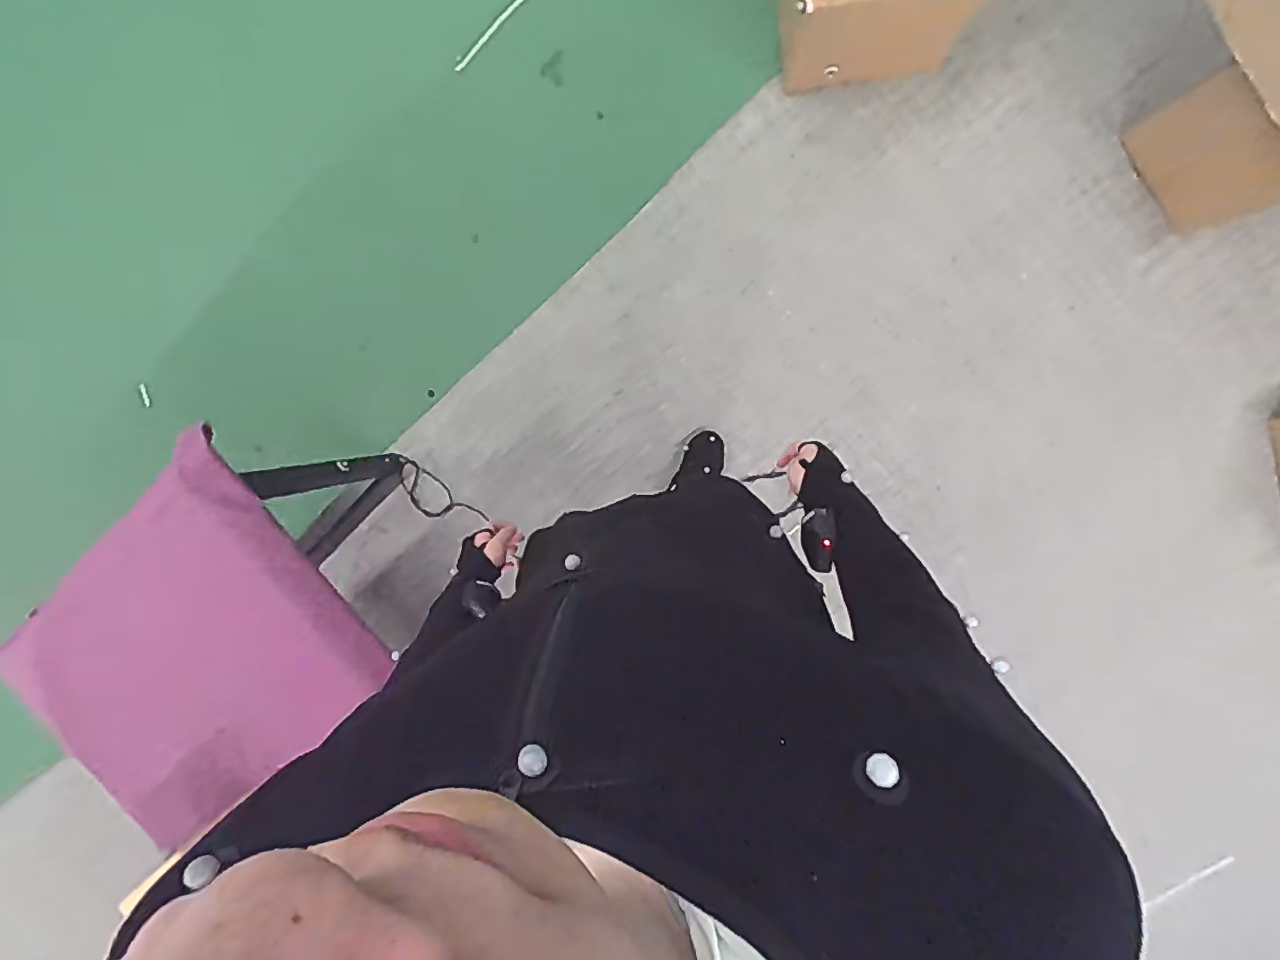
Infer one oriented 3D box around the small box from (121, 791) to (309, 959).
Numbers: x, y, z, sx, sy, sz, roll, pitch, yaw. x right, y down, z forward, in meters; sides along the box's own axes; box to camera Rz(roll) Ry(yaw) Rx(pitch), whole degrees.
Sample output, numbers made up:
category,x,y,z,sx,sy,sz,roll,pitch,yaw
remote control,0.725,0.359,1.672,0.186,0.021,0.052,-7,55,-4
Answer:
category,x,y,z,sx,sy,sz,roll,pitch,yaw
small box,-0.756,0.720,0.982,0.179,0.176,0.168,-41,91,8
